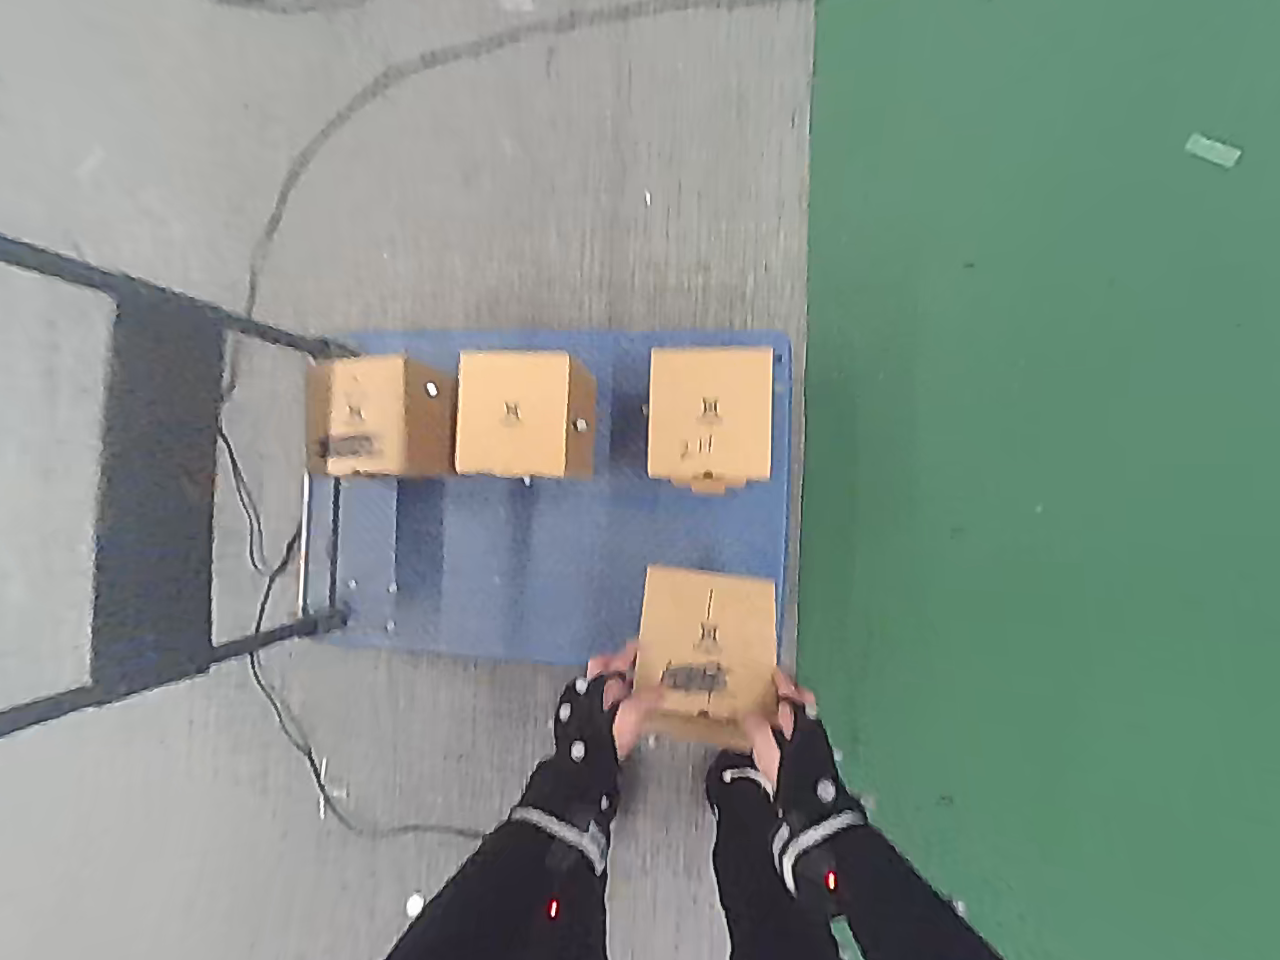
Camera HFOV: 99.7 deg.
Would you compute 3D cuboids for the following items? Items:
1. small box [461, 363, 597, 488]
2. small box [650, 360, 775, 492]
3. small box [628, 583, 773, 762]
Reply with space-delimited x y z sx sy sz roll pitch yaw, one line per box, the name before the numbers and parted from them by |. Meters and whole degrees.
small box | -0.167 -0.080 0.861 0.168 0.176 0.179 3 90 8
small box | 0.110 -0.074 0.816 0.168 0.176 0.179 2 89 10
small box | 0.076 0.261 0.717 0.168 0.176 0.179 7 54 2
